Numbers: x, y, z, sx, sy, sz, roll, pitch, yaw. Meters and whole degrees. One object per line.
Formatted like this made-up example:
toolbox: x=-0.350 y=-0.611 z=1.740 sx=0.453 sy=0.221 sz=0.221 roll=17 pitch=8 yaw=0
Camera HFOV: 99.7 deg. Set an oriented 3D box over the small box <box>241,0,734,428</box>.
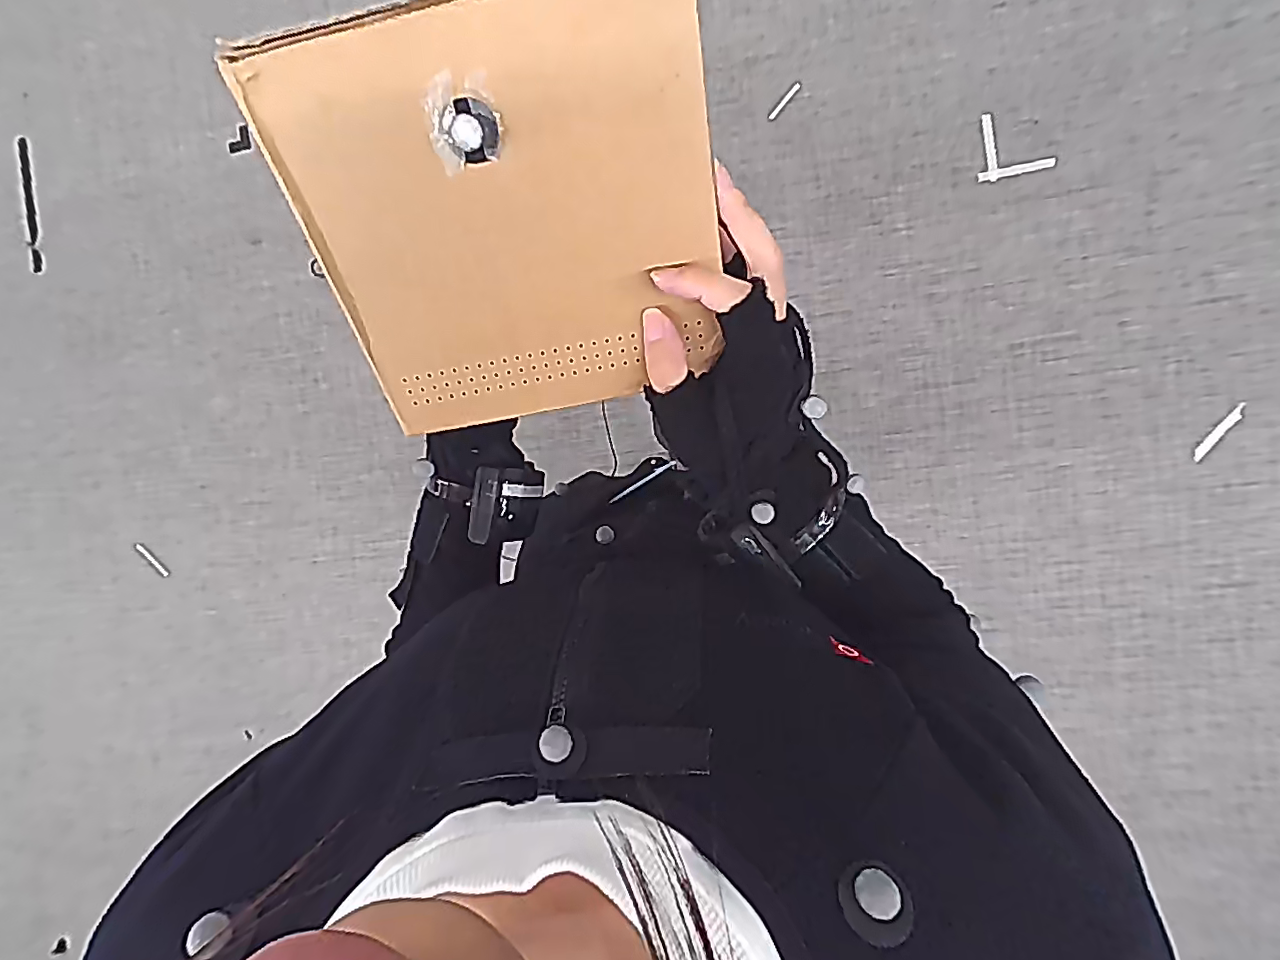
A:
small box: x=-0.052 y=-0.145 z=0.303 sx=0.179 sy=0.168 sz=0.176 roll=-10 pitch=126 yaw=5
